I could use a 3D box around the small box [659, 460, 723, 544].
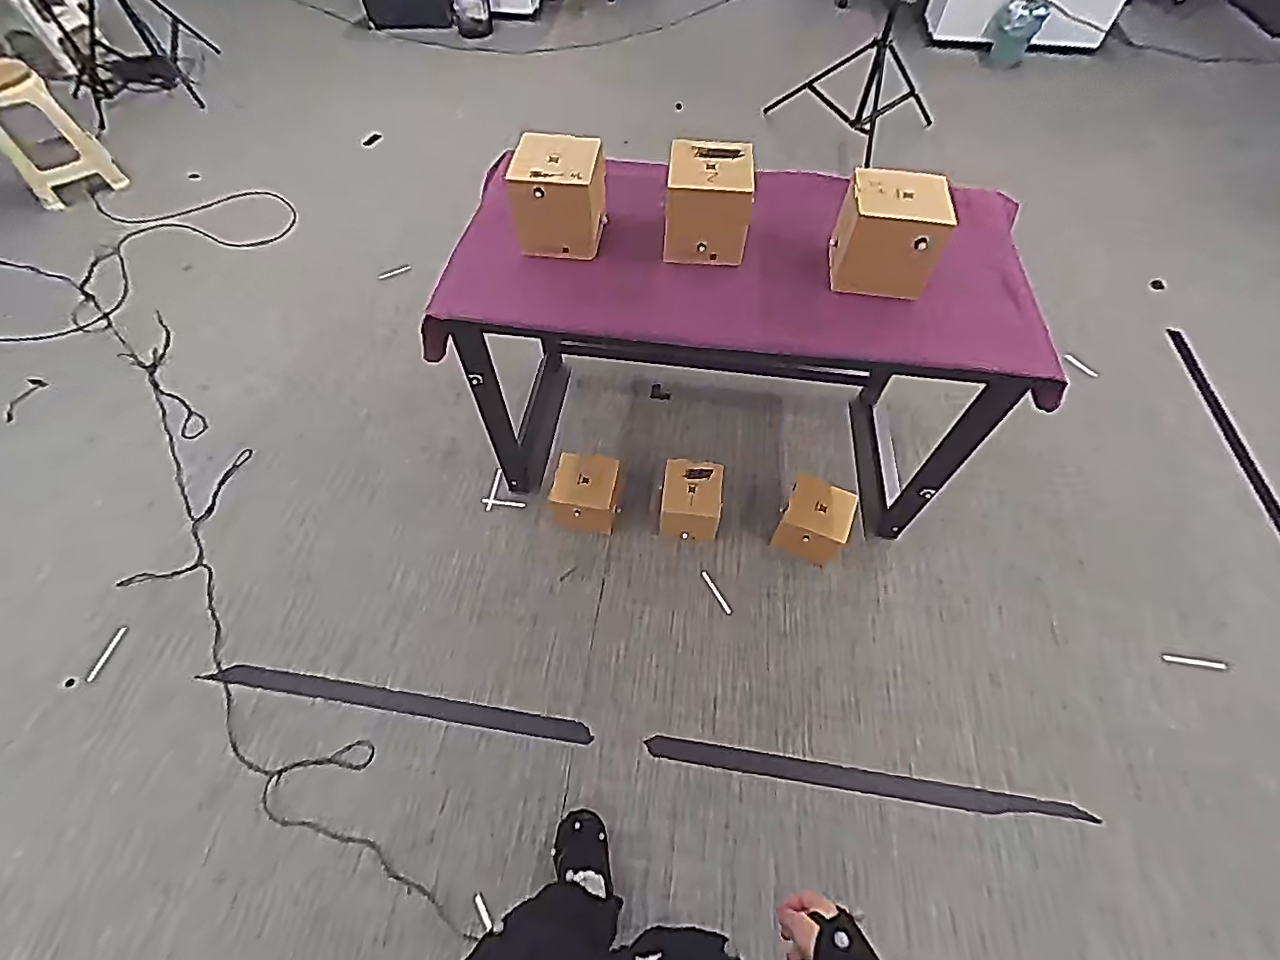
[{"bbox_3d":[0.148,0.066,1.586,0.168,0.176,0.179,6,59,4],"label":"small box"}]

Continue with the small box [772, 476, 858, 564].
[{"bbox_3d":[0.499,0.121,1.555,0.179,0.176,0.168,21,61,14],"label":"small box"}]

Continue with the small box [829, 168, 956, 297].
[{"bbox_3d":[0.488,-0.486,1.074,0.179,0.176,0.168,8,57,5],"label":"small box"}]

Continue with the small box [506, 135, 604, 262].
[{"bbox_3d":[-0.169,-0.589,1.136,0.168,0.176,0.179,5,58,3],"label":"small box"}]
